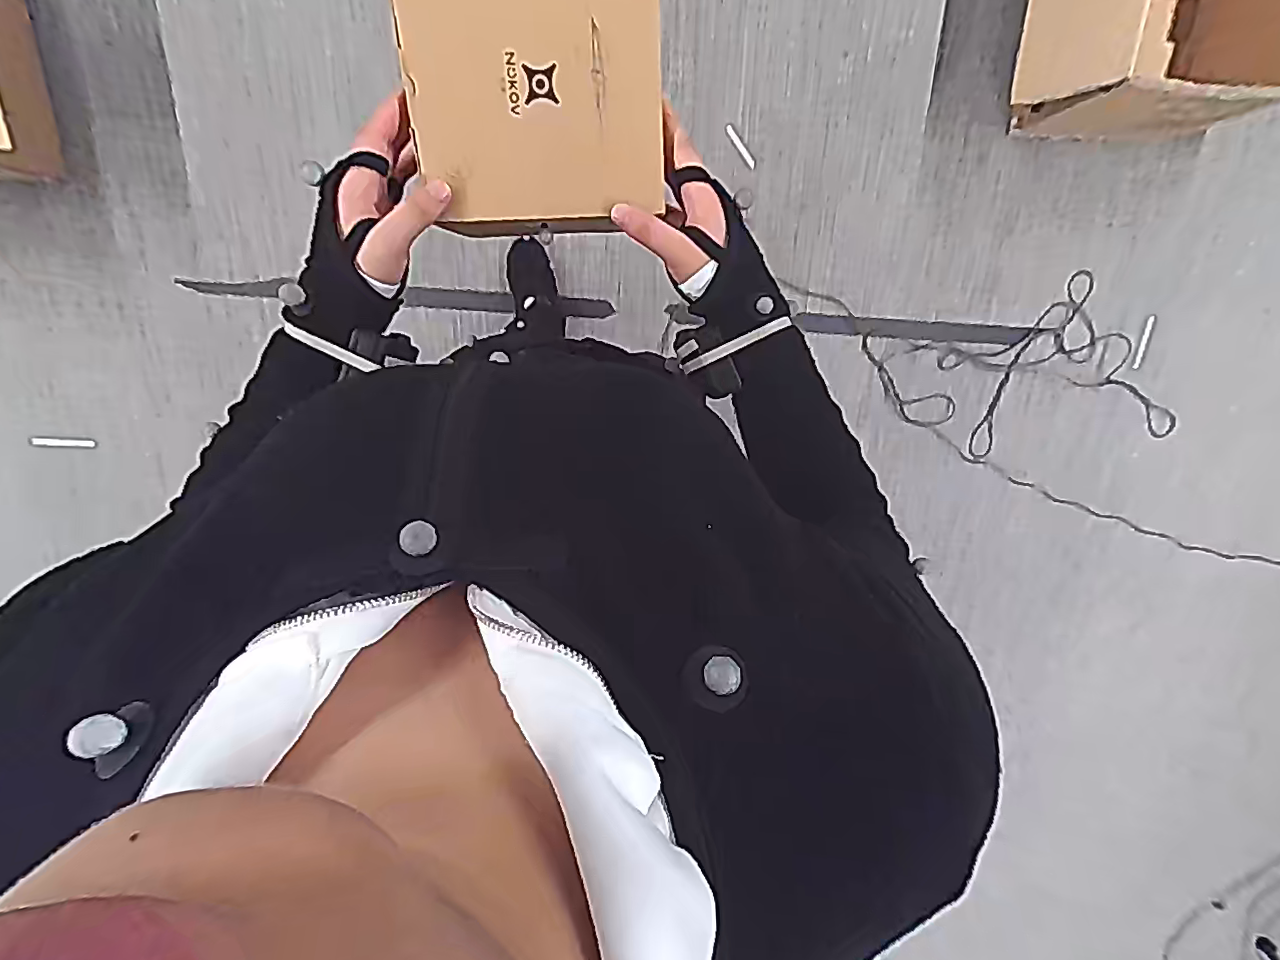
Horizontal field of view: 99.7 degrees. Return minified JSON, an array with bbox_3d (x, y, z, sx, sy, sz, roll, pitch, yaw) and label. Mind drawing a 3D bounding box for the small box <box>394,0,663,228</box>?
[{"bbox_3d":[-0.080,-0.306,0.446,0.179,0.176,0.168,-5,112,-5],"label":"small box"}]
